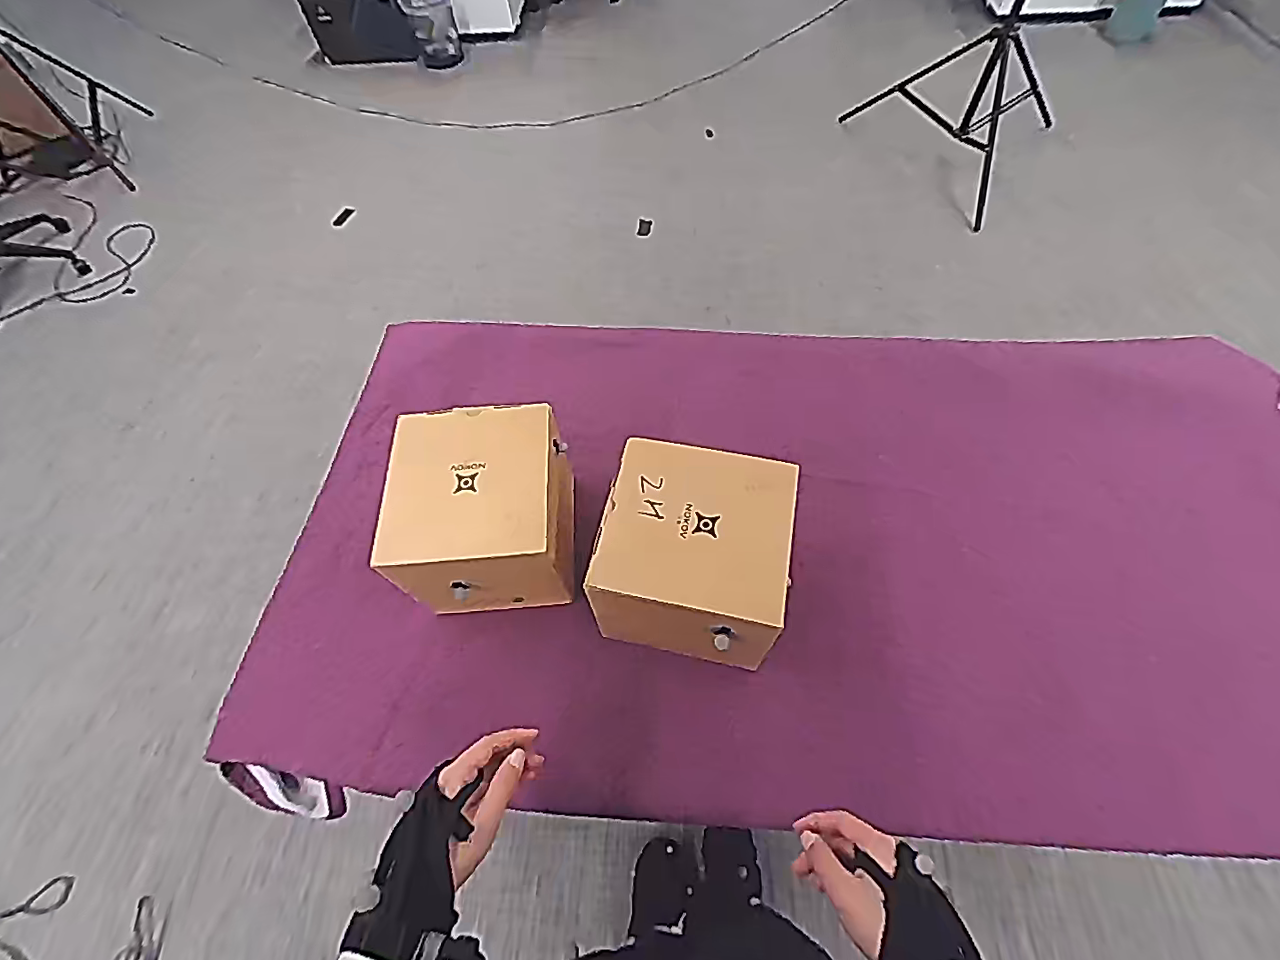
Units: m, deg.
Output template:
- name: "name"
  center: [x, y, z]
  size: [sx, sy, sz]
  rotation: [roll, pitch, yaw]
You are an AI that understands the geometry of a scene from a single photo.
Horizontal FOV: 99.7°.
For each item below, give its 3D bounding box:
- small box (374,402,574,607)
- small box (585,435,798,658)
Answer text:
- name: "small box"
  center: [-0.169, 0.037, 0.611]
  size: [0.168, 0.176, 0.179]
  rotation: [-6, 59, 0]
- name: "small box"
  center: [0.057, 0.077, 0.573]
  size: [0.179, 0.176, 0.168]
  rotation: [10, 59, 9]
